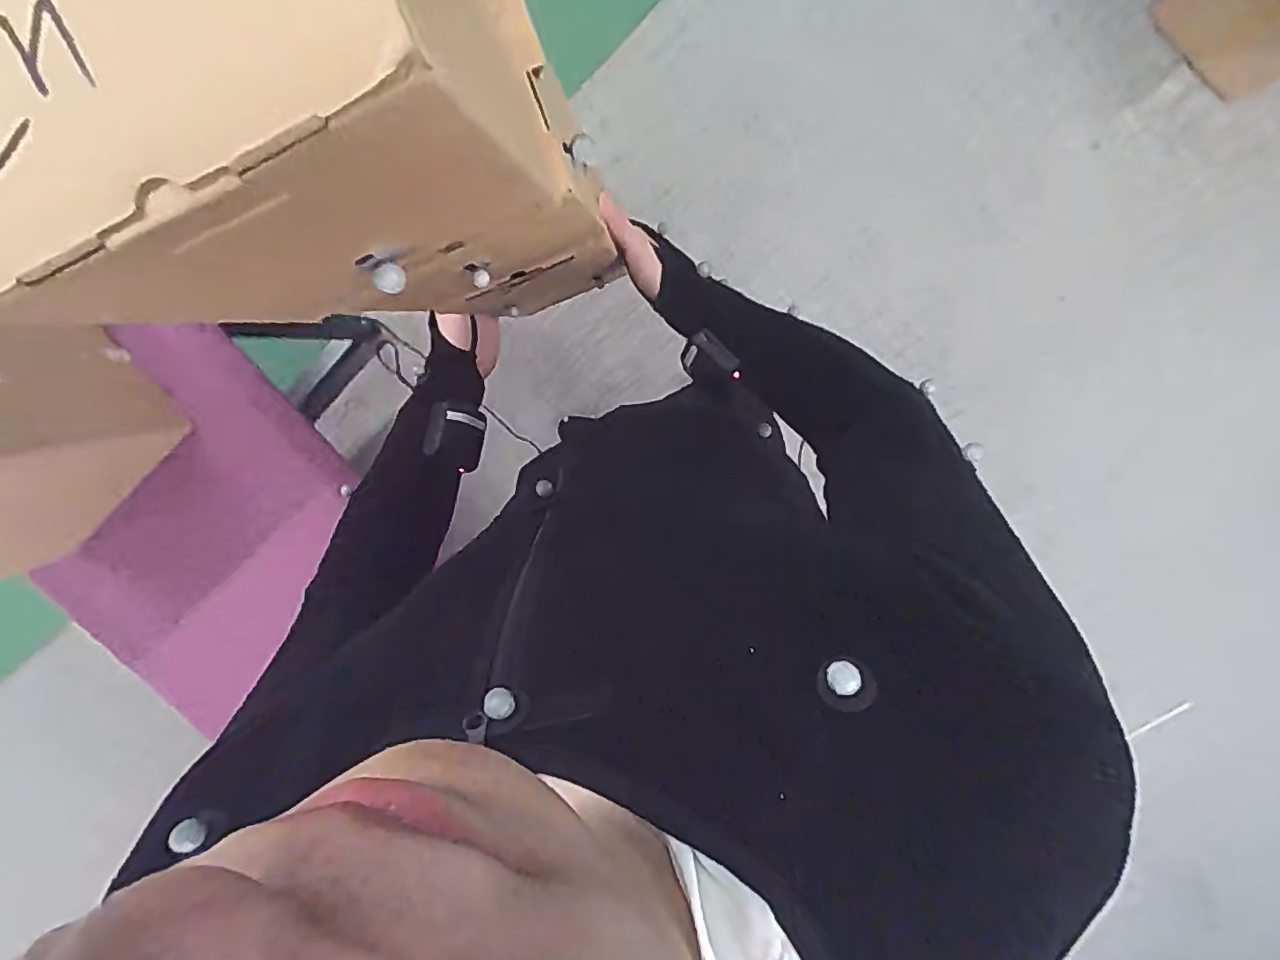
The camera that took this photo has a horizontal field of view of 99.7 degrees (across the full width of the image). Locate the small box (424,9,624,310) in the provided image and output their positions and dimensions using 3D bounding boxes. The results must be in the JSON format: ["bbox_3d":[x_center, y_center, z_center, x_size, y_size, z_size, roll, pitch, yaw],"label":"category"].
[{"bbox_3d":[-0.120,-0.273,0.511,0.168,0.176,0.179,-18,105,7],"label":"small box"}]

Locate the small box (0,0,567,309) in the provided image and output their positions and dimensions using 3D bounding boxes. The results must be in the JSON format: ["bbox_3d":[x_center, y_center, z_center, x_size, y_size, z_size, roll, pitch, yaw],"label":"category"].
[{"bbox_3d":[-0.143,-0.174,0.197,0.168,0.176,0.179,-19,105,9],"label":"small box"}]

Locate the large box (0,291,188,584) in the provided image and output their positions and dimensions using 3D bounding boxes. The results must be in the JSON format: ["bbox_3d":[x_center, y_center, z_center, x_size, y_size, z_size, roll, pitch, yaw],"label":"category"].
[{"bbox_3d":[-1.028,-0.051,0.810,0.408,0.320,0.320,-39,99,12],"label":"large box"}]
